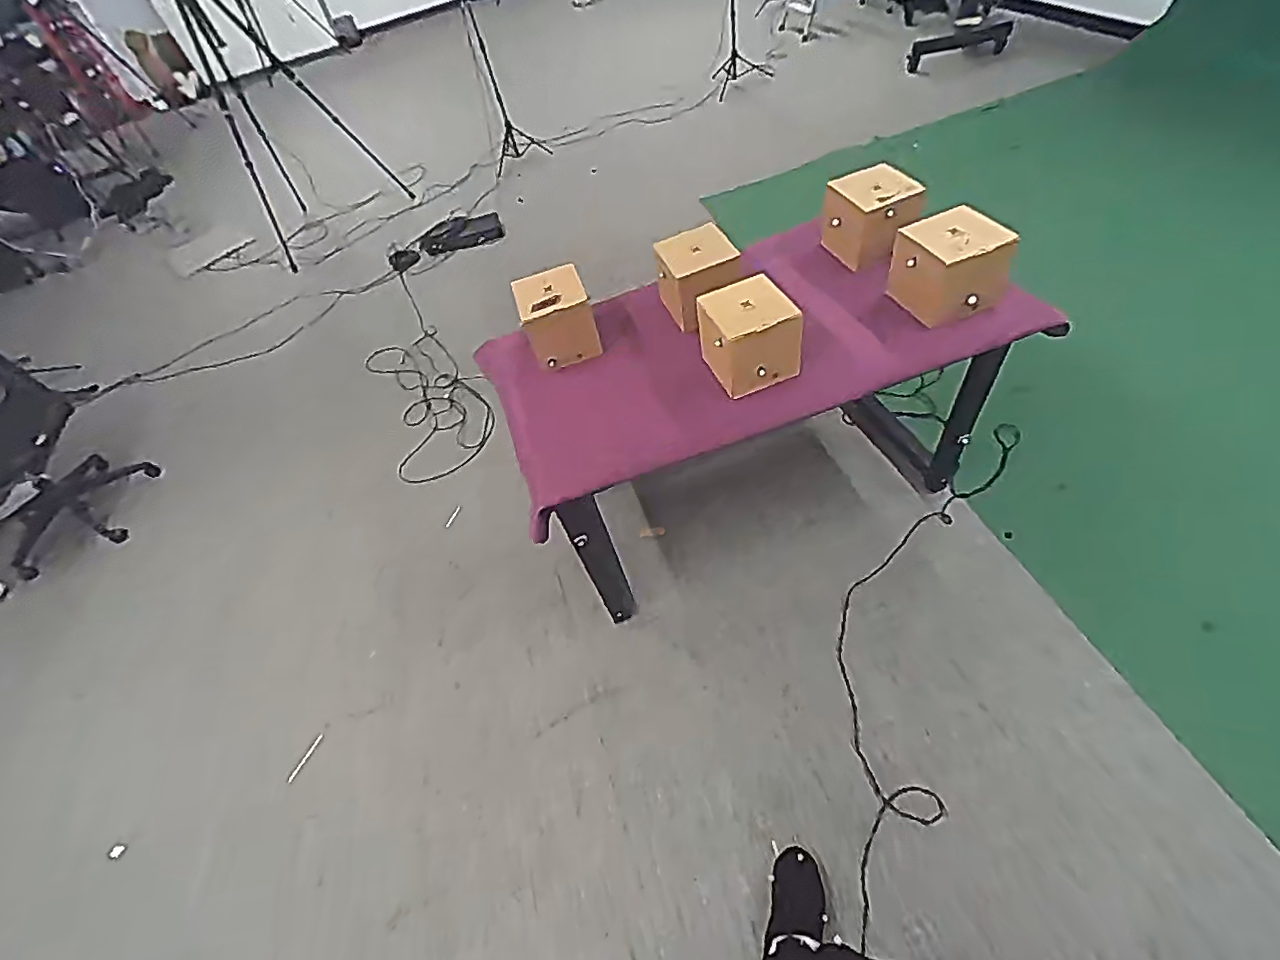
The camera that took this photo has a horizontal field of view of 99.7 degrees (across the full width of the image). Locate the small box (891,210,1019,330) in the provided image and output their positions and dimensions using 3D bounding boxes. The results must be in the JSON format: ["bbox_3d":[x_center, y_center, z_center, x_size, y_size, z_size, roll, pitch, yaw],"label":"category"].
[{"bbox_3d":[0.695,-0.471,1.221,0.168,0.176,0.179,-21,51,-1],"label":"small box"}]

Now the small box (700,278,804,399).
[{"bbox_3d":[0.244,-0.313,1.208,0.168,0.176,0.179,-21,51,-4],"label":"small box"}]

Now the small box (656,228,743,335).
[{"bbox_3d":[0.151,-0.502,1.374,0.168,0.176,0.179,-21,52,-3],"label":"small box"}]

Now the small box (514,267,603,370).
[{"bbox_3d":[-0.202,-0.400,1.369,0.168,0.176,0.179,-19,53,-3],"label":"small box"}]

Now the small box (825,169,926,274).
[{"bbox_3d":[0.595,-0.663,1.394,0.168,0.176,0.179,-22,51,-3],"label":"small box"}]
